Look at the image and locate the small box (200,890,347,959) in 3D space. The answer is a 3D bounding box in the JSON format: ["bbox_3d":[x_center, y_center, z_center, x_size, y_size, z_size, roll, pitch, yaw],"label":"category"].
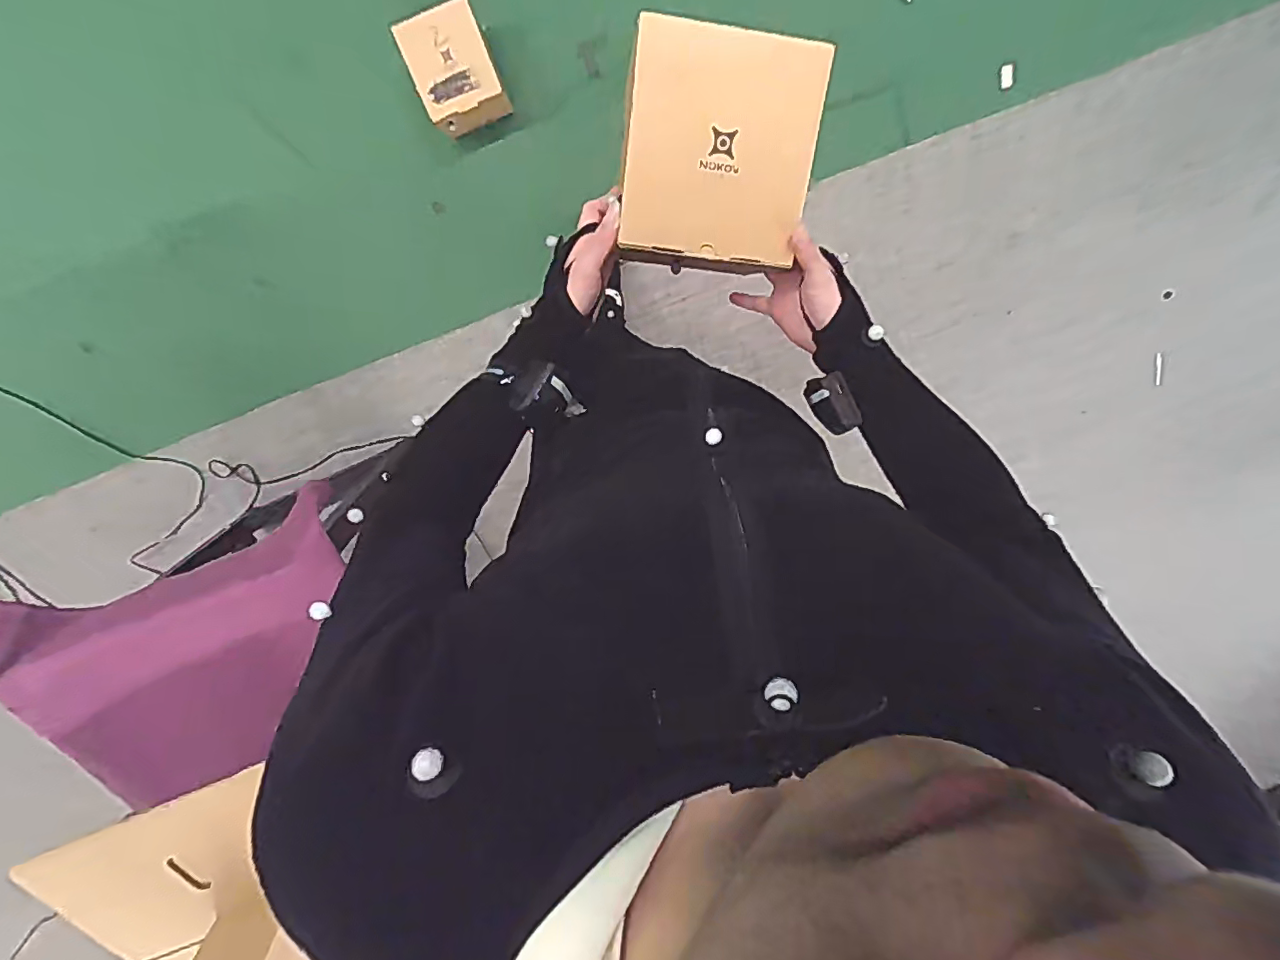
[{"bbox_3d":[-0.625,0.832,0.899,0.179,0.176,0.168,-24,110,5],"label":"small box"}]

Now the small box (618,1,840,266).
[{"bbox_3d":[0.069,-0.315,0.533,0.168,0.176,0.179,4,110,-5],"label":"small box"}]
